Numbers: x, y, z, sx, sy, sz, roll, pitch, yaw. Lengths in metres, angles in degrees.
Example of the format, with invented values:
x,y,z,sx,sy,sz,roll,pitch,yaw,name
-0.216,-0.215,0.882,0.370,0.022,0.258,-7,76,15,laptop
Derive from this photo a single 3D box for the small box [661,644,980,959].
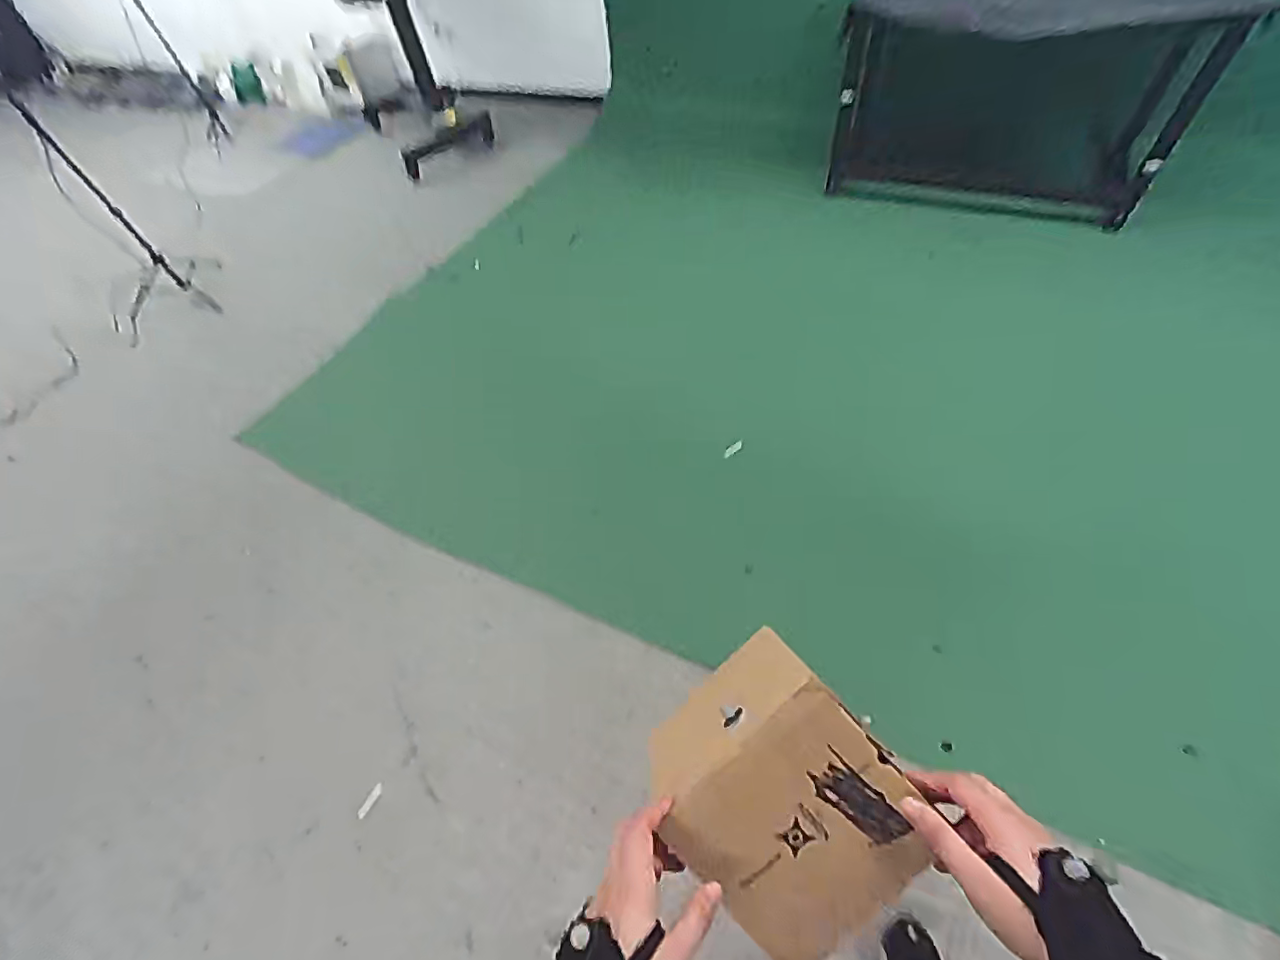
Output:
x,y,z,sx,sy,sz,roll,pitch,yaw,name
0.129,0.273,0.468,0.179,0.176,0.168,-43,88,-1,small box
